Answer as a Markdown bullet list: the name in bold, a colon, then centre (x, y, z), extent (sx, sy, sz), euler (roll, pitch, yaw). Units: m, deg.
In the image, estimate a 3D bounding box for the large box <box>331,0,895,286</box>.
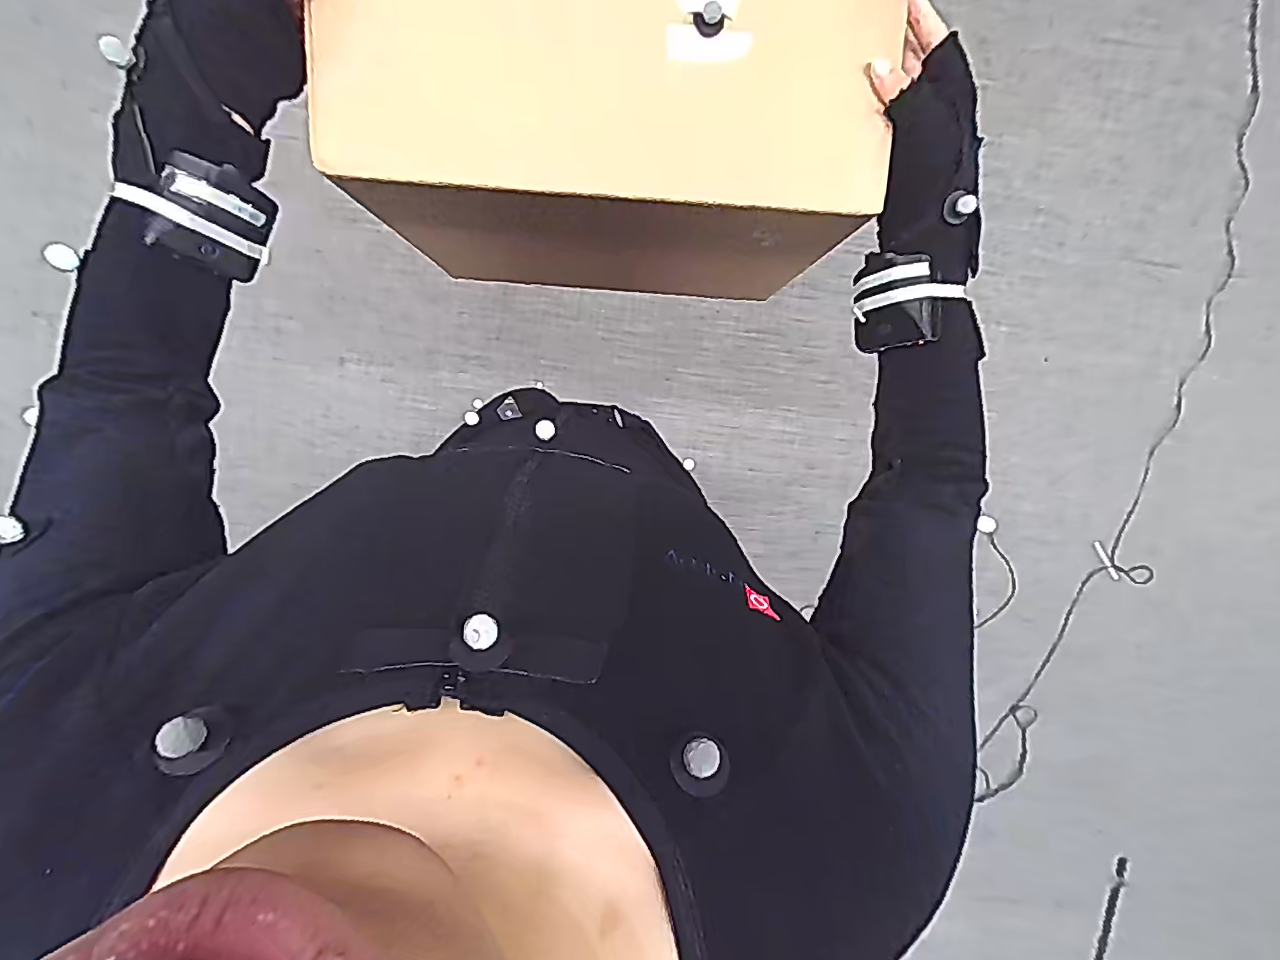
- **large box**: centre (-0.021, -0.387, 0.524), extent (0.408, 0.320, 0.320), euler (3, 98, -3)
